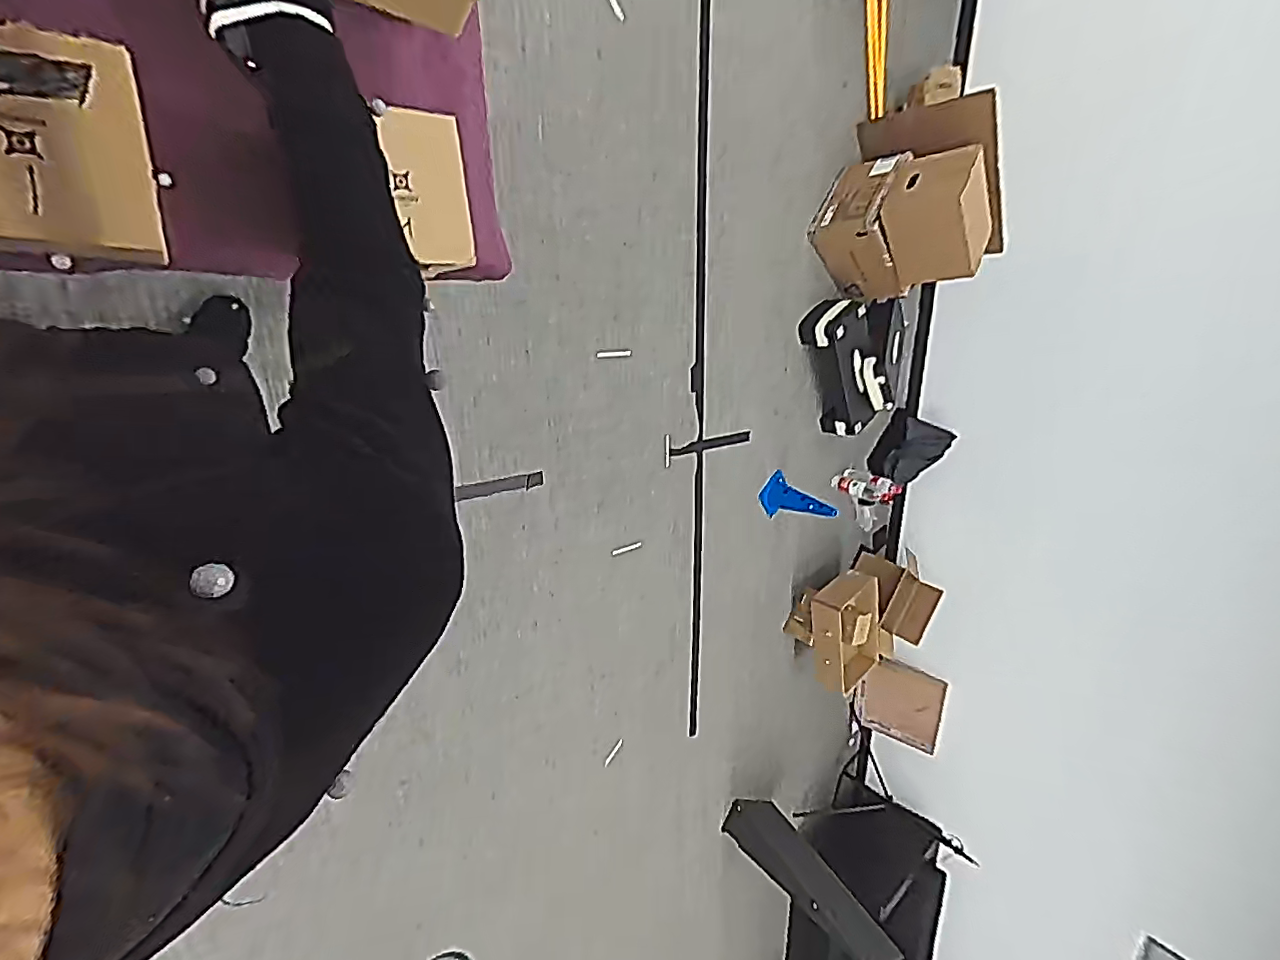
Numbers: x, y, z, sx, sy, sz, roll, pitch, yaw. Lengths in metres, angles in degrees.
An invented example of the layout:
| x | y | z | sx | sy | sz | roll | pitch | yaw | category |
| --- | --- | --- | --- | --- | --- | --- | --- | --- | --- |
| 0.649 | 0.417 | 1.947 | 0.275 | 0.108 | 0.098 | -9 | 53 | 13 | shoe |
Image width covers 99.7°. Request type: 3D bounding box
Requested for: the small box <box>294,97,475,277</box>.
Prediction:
| x | y | z | sx | sy | sz | roll | pitch | yaw | category |
| --- | --- | --- | --- | --- | --- | --- | --- | --- | --- |
| -0.340 | -0.370 | 0.719 | 0.168 | 0.176 | 0.179 | -17 | 113 | -35 | small box |

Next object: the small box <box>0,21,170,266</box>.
| x | y | z | sx | sy | sz | roll | pitch | yaw | category |
| --- | --- | --- | --- | --- | --- | --- | --- | --- | --- |
| -0.585 | -0.316 | 0.531 | 0.168 | 0.176 | 0.179 | -10 | 110 | -38 | small box |
